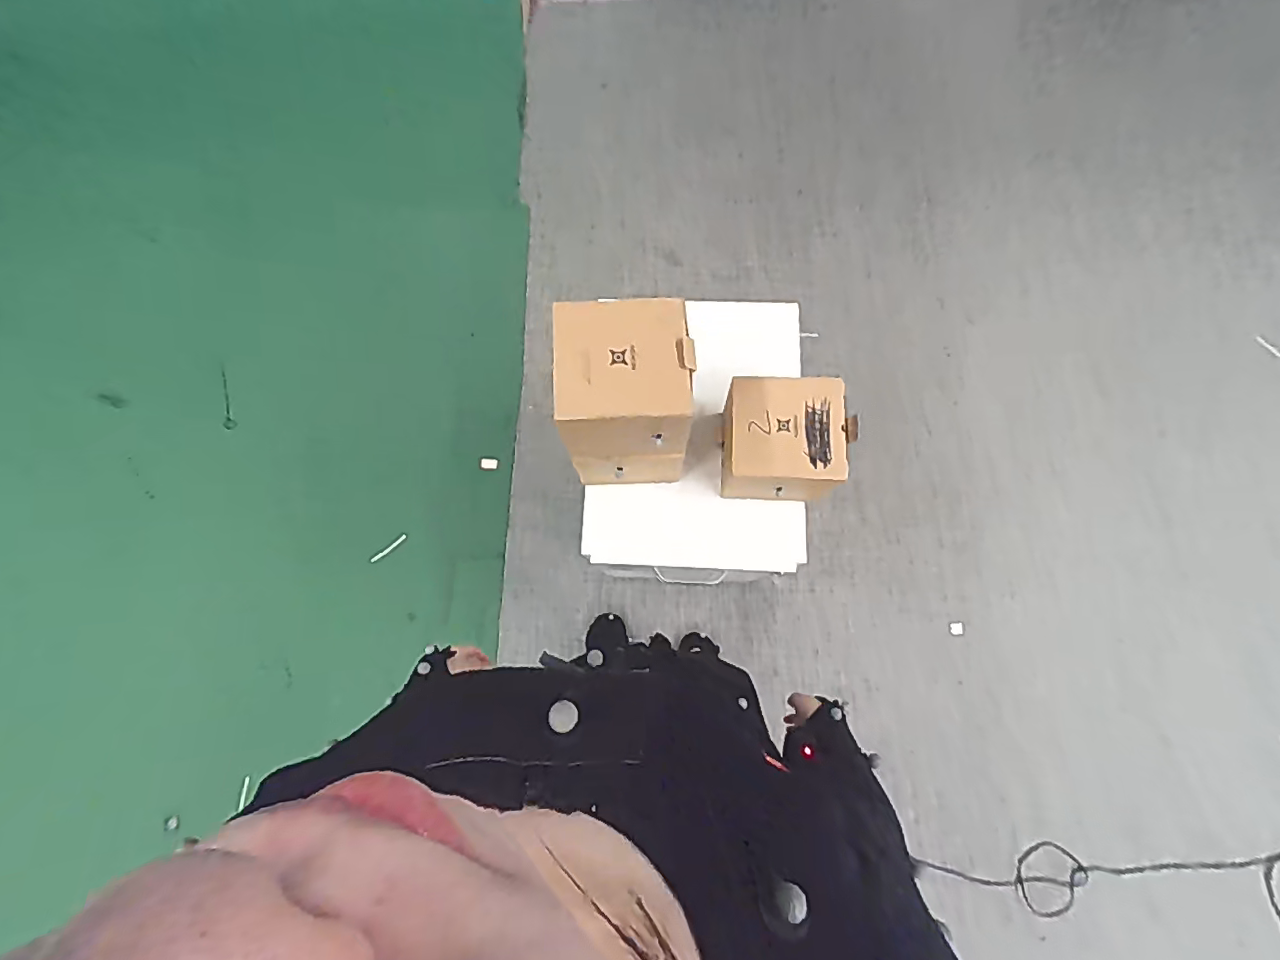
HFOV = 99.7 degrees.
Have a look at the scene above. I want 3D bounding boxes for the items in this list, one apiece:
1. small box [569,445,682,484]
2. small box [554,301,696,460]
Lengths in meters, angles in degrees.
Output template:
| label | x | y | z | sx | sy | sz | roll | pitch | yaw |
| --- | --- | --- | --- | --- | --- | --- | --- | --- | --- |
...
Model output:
| label | x | y | z | sx | sy | sz | roll | pitch | yaw |
| --- | --- | --- | --- | --- | --- | --- | --- | --- | --- |
| small box | -0.022 | -0.091 | 0.922 | 0.179 | 0.176 | 0.168 | -2 | 77 | 0 |
| small box | -0.022 | -0.132 | 0.764 | 0.179 | 0.176 | 0.168 | -4 | 75 | 0 |
